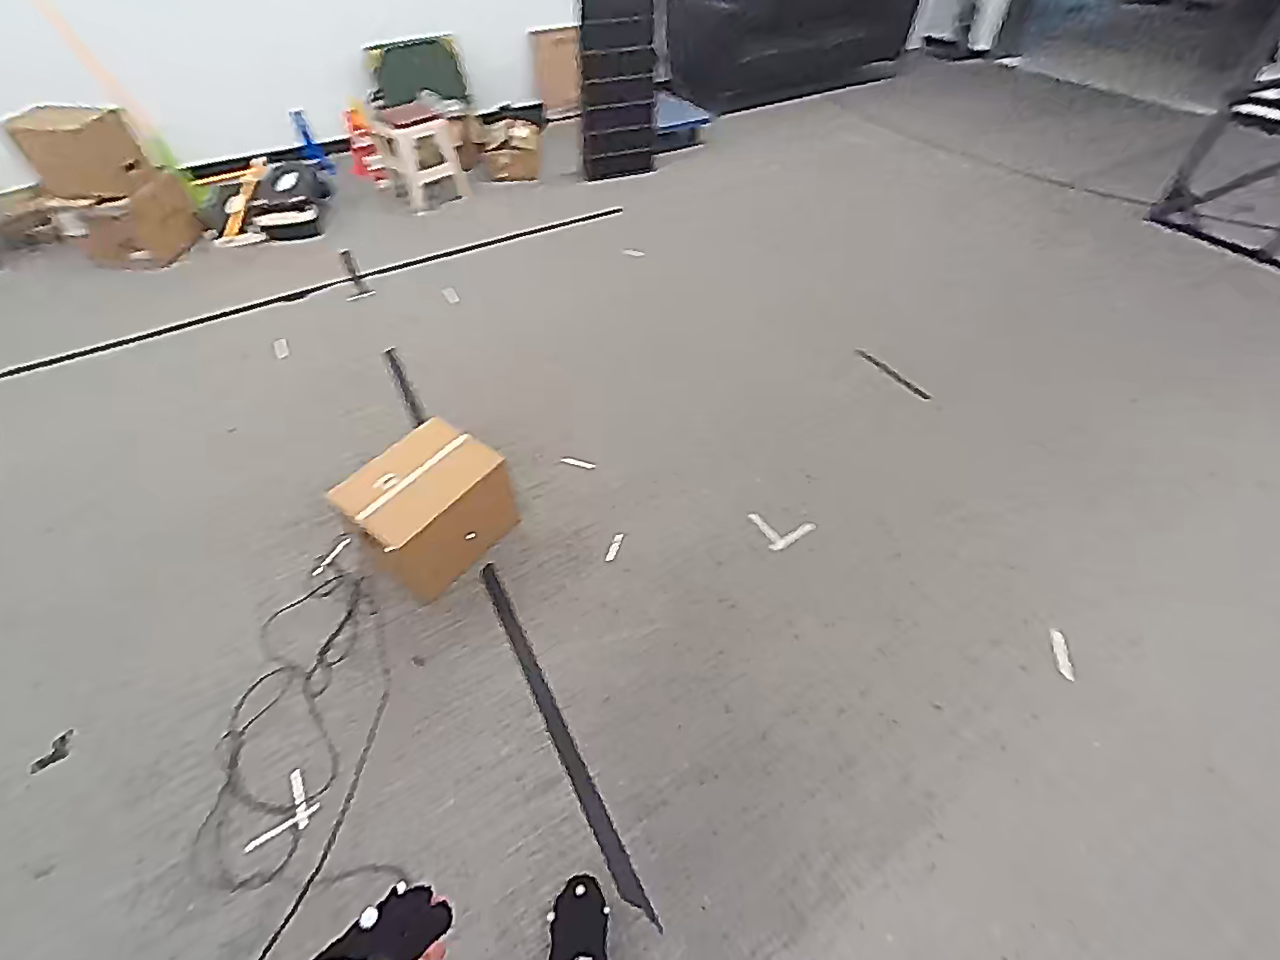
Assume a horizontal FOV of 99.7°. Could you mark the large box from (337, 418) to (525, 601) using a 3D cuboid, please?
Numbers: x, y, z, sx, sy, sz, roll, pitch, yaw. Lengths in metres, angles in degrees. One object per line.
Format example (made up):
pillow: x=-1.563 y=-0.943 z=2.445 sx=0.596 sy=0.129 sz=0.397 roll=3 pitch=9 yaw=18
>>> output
large box: x=-0.623 y=0.087 z=1.686 sx=0.320 sy=0.320 sz=0.408 roll=29 pitch=56 yaw=22
